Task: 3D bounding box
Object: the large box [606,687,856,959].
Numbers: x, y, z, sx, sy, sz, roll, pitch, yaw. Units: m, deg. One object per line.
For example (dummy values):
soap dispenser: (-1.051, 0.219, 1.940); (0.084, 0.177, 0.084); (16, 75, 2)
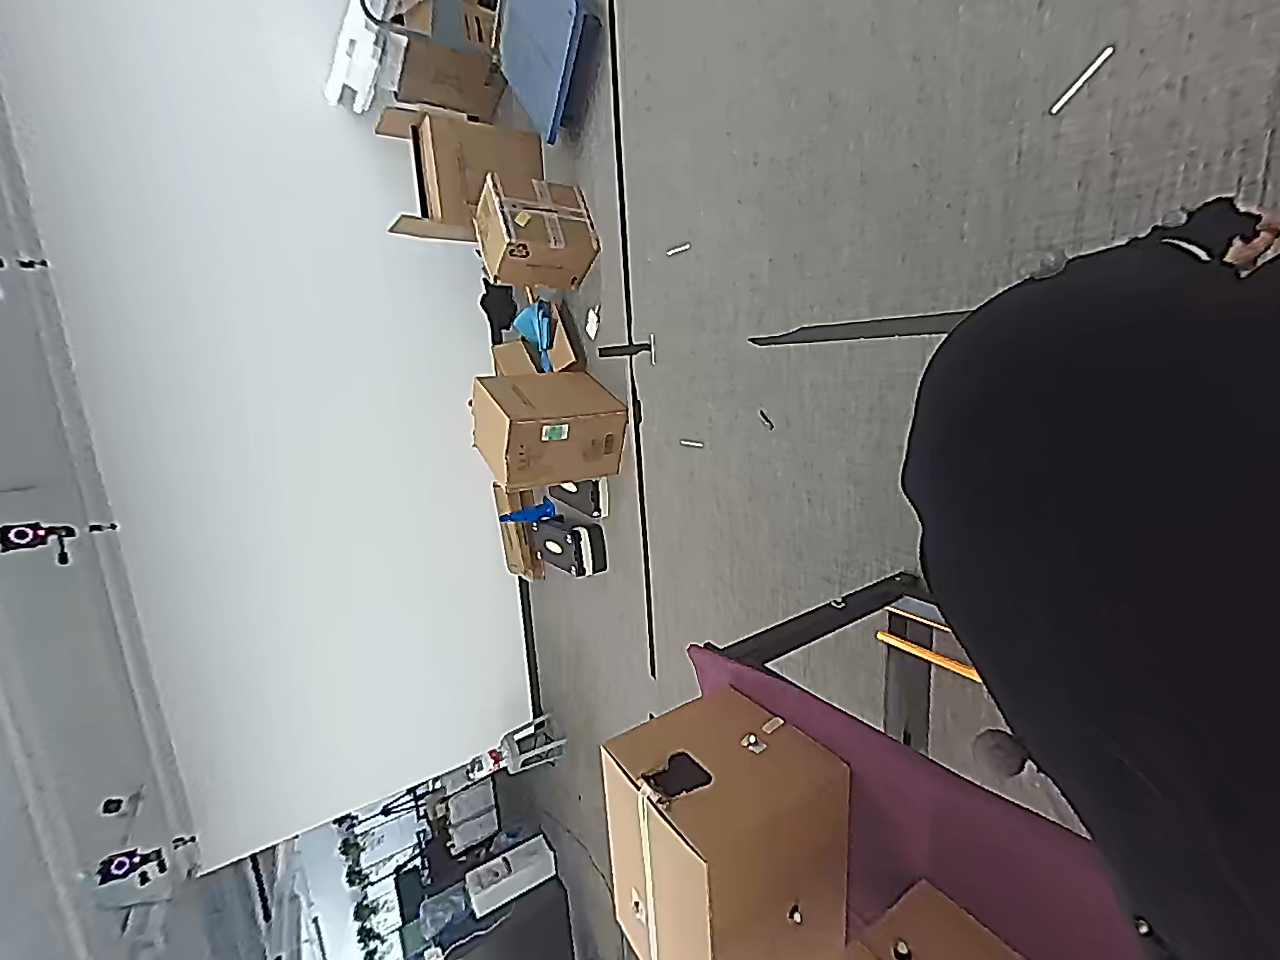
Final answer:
large box: (0.162, 0.666, 0.975); (0.320, 0.320, 0.408); (14, 113, 58)
